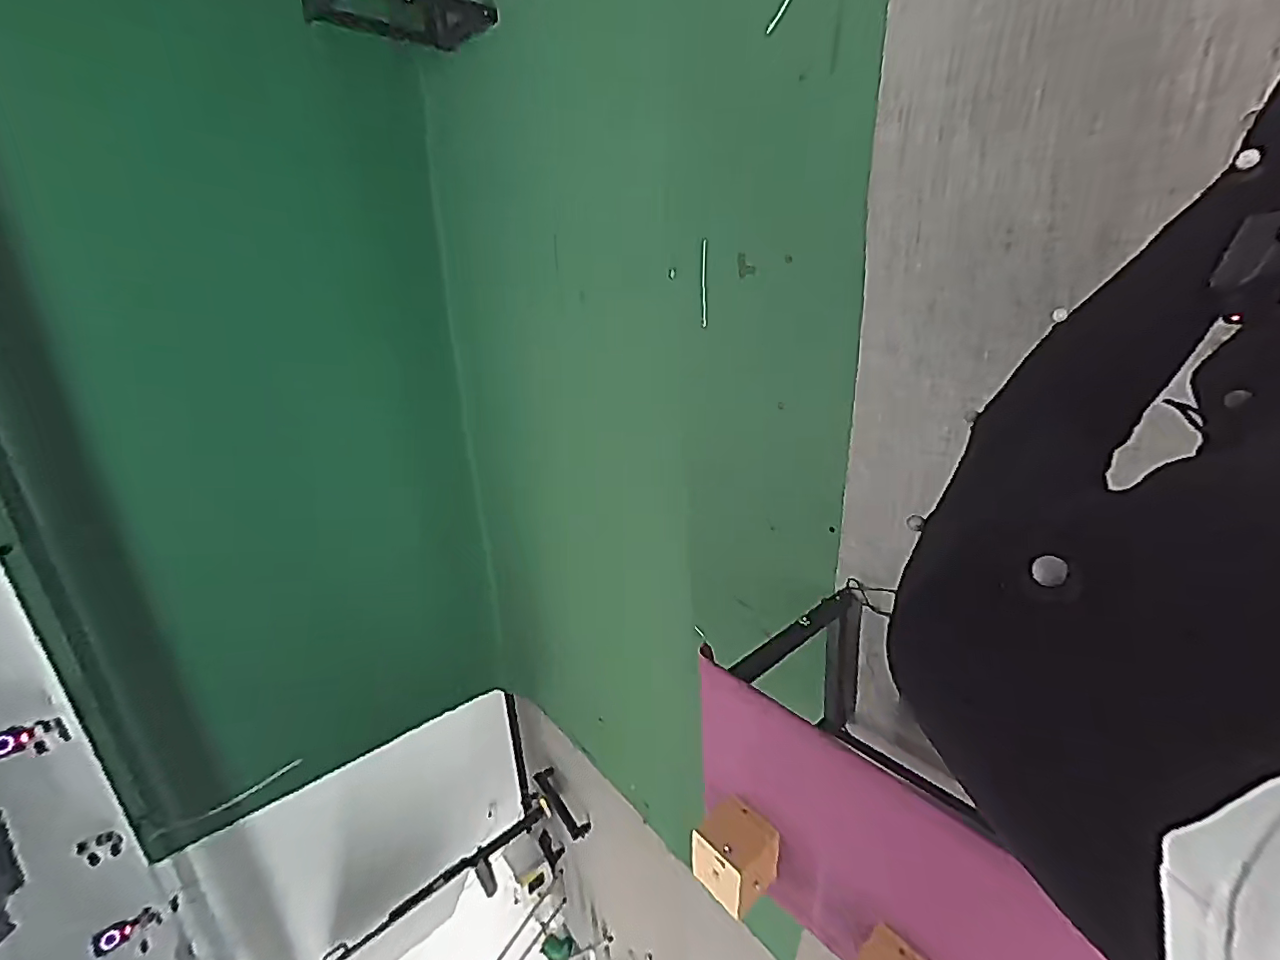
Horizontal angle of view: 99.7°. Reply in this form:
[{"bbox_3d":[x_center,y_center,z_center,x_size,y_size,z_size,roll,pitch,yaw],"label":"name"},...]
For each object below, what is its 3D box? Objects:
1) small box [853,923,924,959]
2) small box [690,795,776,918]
[{"bbox_3d":[0.542,1.133,1.168,0.168,0.176,0.179,22,120,44],"label":"small box"},{"bbox_3d":[0.255,1.019,1.477,0.168,0.176,0.179,20,119,45],"label":"small box"}]
